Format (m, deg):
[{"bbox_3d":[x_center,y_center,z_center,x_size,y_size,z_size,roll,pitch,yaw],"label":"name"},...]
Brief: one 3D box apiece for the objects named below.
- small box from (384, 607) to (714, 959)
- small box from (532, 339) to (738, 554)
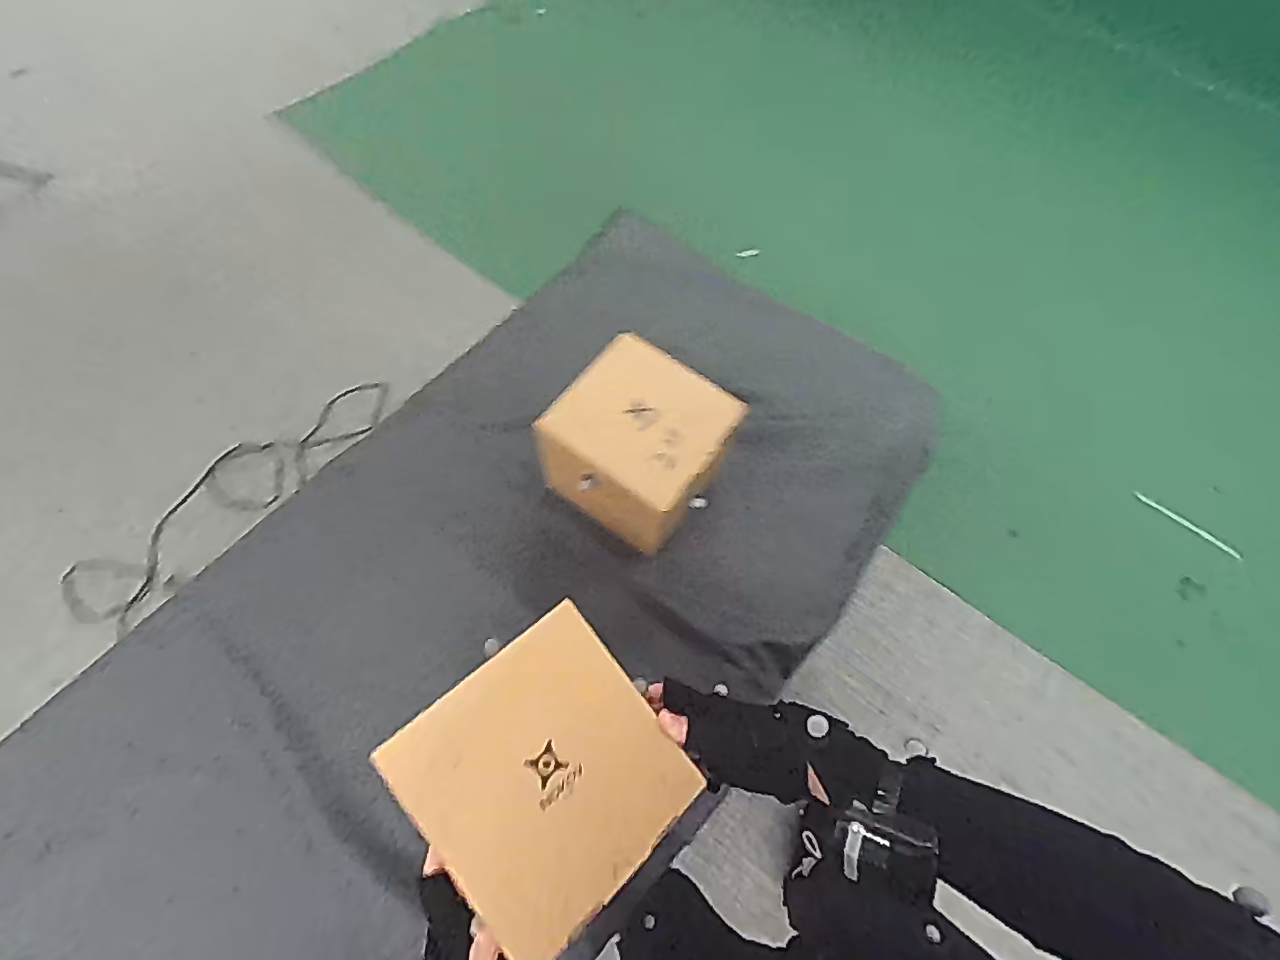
[{"bbox_3d":[-0.079,0.232,0.442,0.168,0.176,0.179,-35,85,-26],"label":"small box"},{"bbox_3d":[-0.009,-0.032,0.674,0.179,0.176,0.168,35,68,11],"label":"small box"}]
